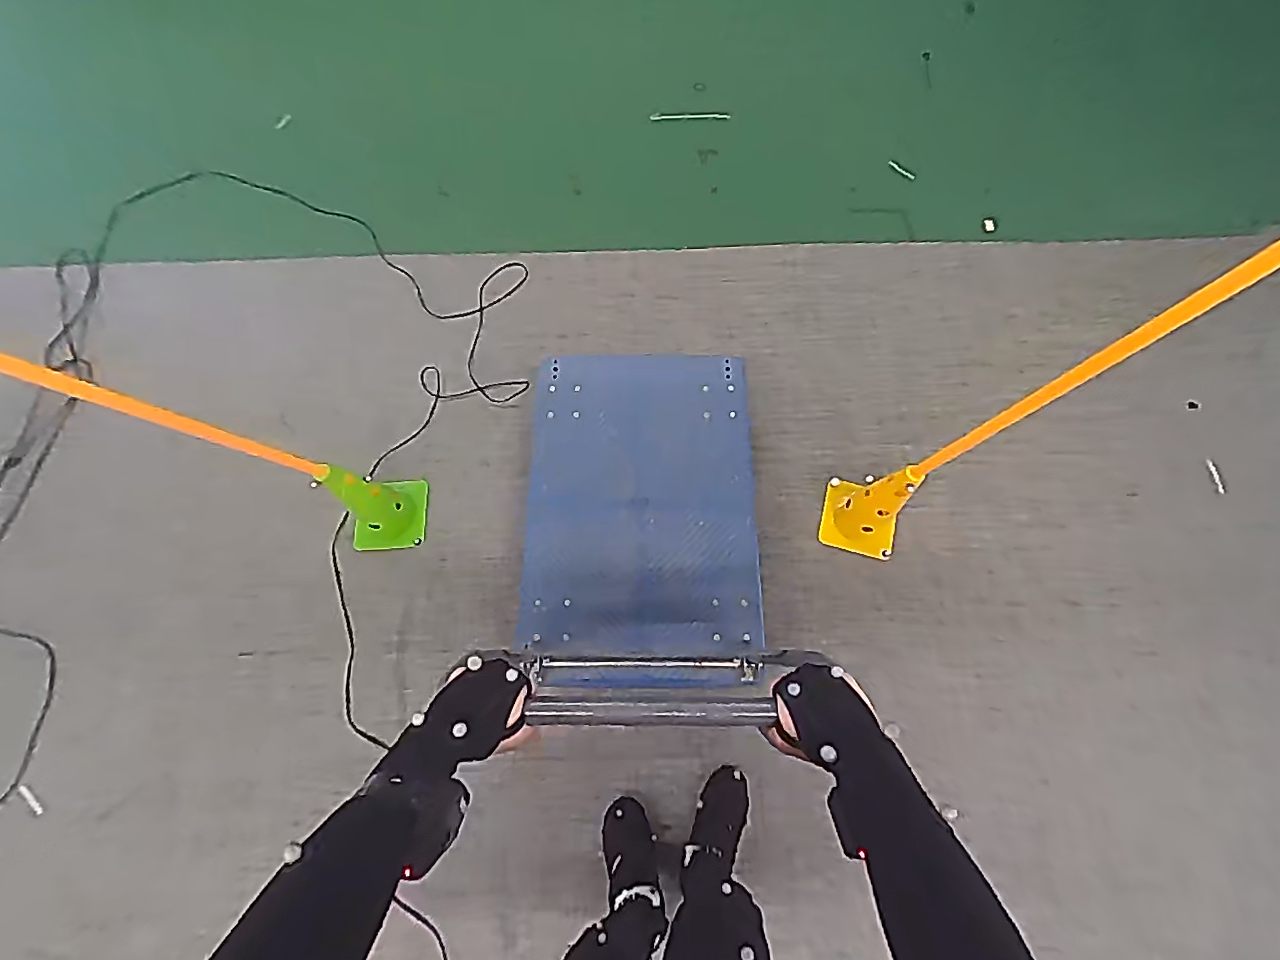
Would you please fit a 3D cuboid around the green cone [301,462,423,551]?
[{"bbox_3d":[-0.727,0.036,1.377,0.202,0.368,0.200,-5,69,1],"label":"green cone"}]
